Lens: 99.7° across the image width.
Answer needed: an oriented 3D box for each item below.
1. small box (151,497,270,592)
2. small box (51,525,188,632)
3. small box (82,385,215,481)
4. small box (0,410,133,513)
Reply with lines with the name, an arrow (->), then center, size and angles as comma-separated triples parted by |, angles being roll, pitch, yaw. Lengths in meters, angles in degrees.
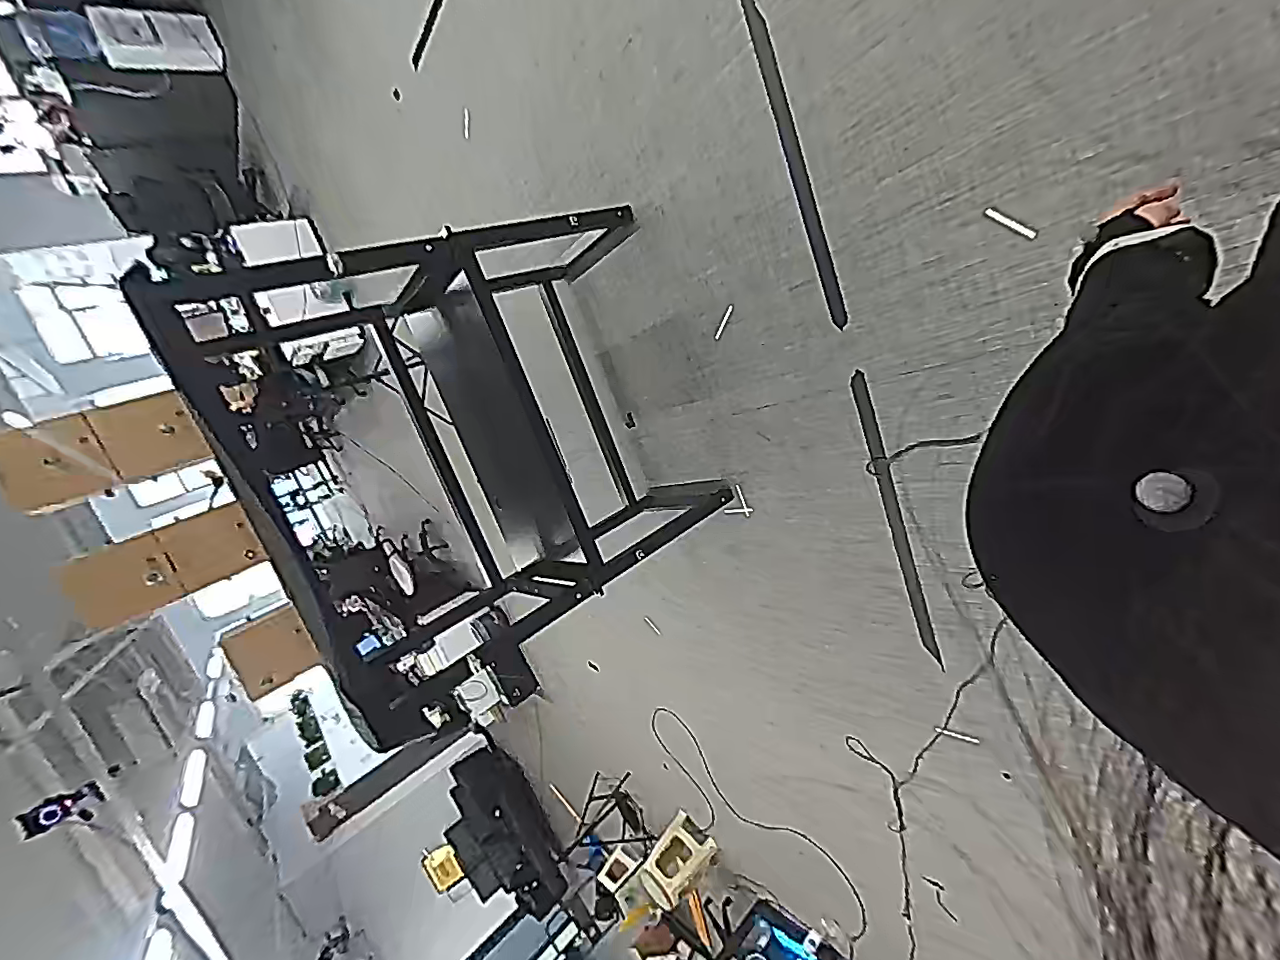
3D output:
small box -> -1.013, 0.147, 1.293 | 0.179, 0.176, 0.168 | -5, 109, 56
small box -> -1.135, 0.210, 1.206 | 0.179, 0.176, 0.168 | -4, 111, 54
small box -> -1.111, -0.105, 1.241 | 0.179, 0.176, 0.168 | -4, 112, 54
small box -> -1.232, -0.041, 1.151 | 0.179, 0.176, 0.168 | -3, 111, 53
